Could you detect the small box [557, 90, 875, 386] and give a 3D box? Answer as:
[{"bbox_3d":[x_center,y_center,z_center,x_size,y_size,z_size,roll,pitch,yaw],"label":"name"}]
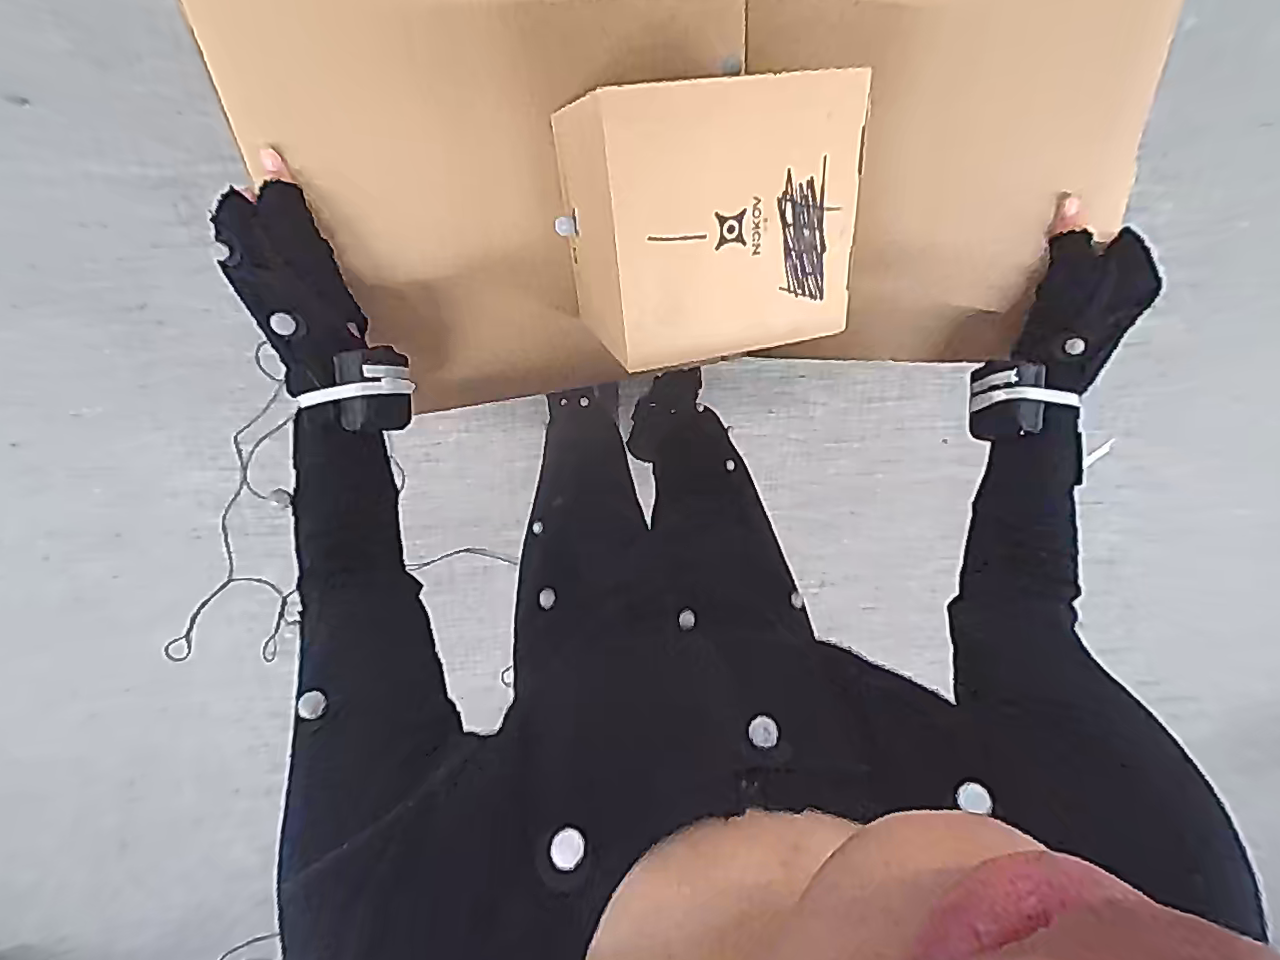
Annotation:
[{"bbox_3d":[0.045,-0.190,0.419,0.179,0.176,0.168,-13,121,-11],"label":"small box"}]
